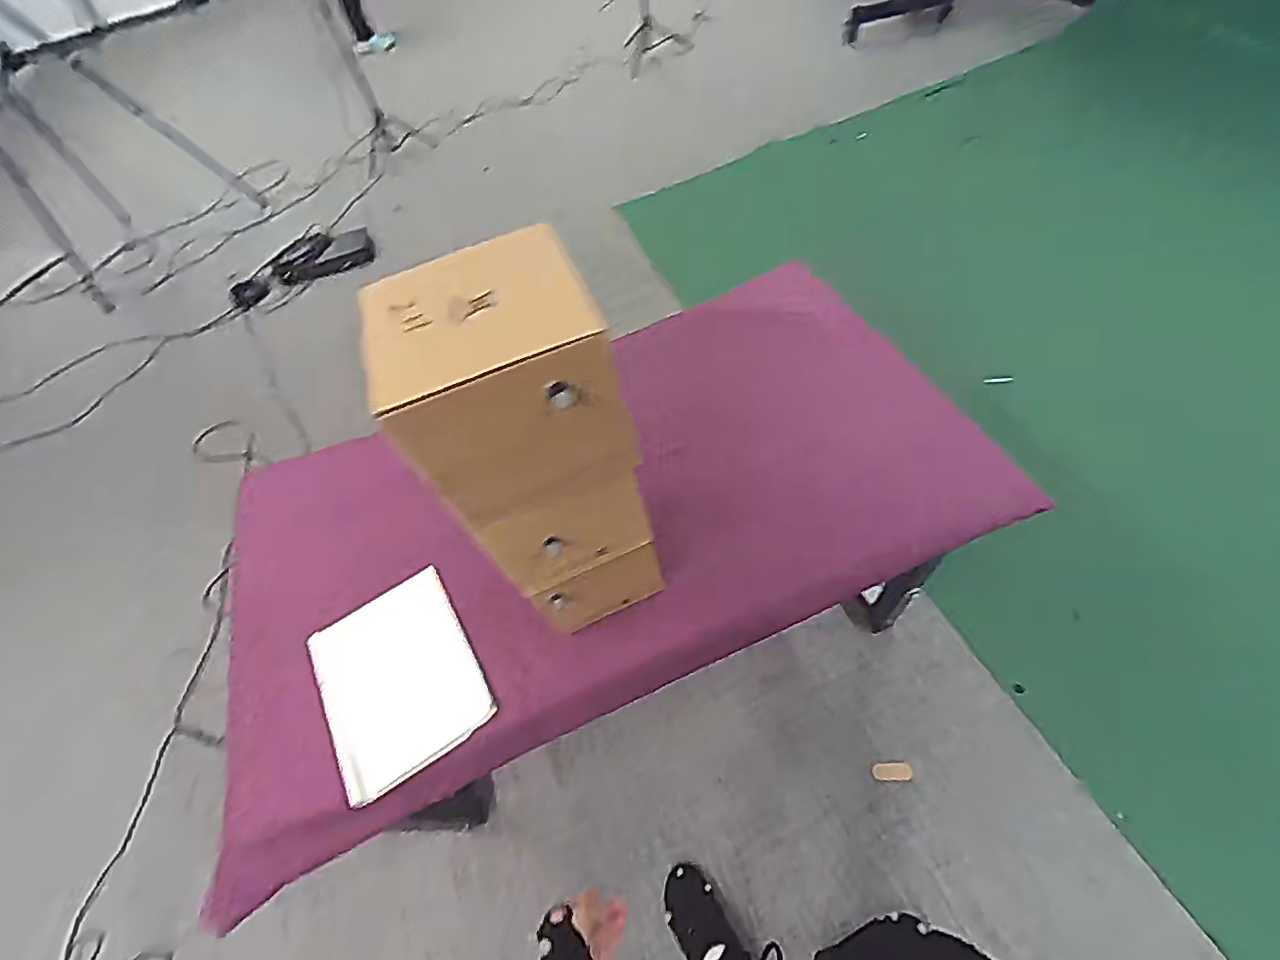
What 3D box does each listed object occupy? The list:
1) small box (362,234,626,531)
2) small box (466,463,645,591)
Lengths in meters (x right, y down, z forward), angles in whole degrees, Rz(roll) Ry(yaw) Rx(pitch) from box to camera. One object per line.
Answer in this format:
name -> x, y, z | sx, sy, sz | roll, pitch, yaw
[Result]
small box -> -0.121, -0.083, 0.493 | 0.179, 0.176, 0.168 | -22, 54, -4
small box -> -0.106, 0.008, 0.630 | 0.168, 0.176, 0.179 | -24, 54, -6
